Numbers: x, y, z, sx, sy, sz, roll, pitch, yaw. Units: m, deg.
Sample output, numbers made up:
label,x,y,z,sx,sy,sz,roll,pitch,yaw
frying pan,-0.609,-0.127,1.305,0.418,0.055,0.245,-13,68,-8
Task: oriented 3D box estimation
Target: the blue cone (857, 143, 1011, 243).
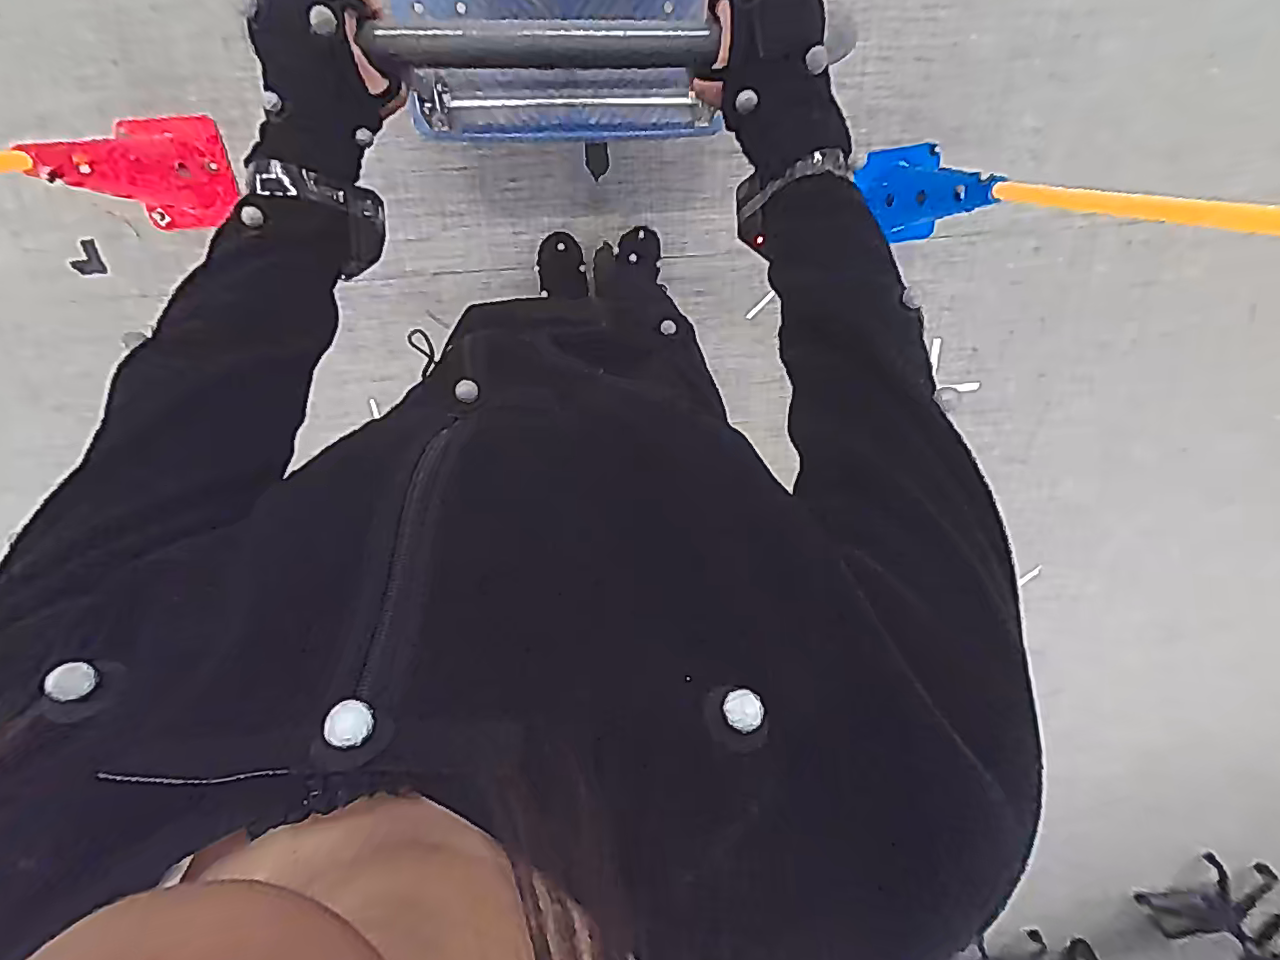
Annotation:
label,x,y,z,sx,sy,sz,roll,pitch,yaw
blue cone,0.607,-0.588,1.099,0.193,0.380,0.192,-8,115,-1
